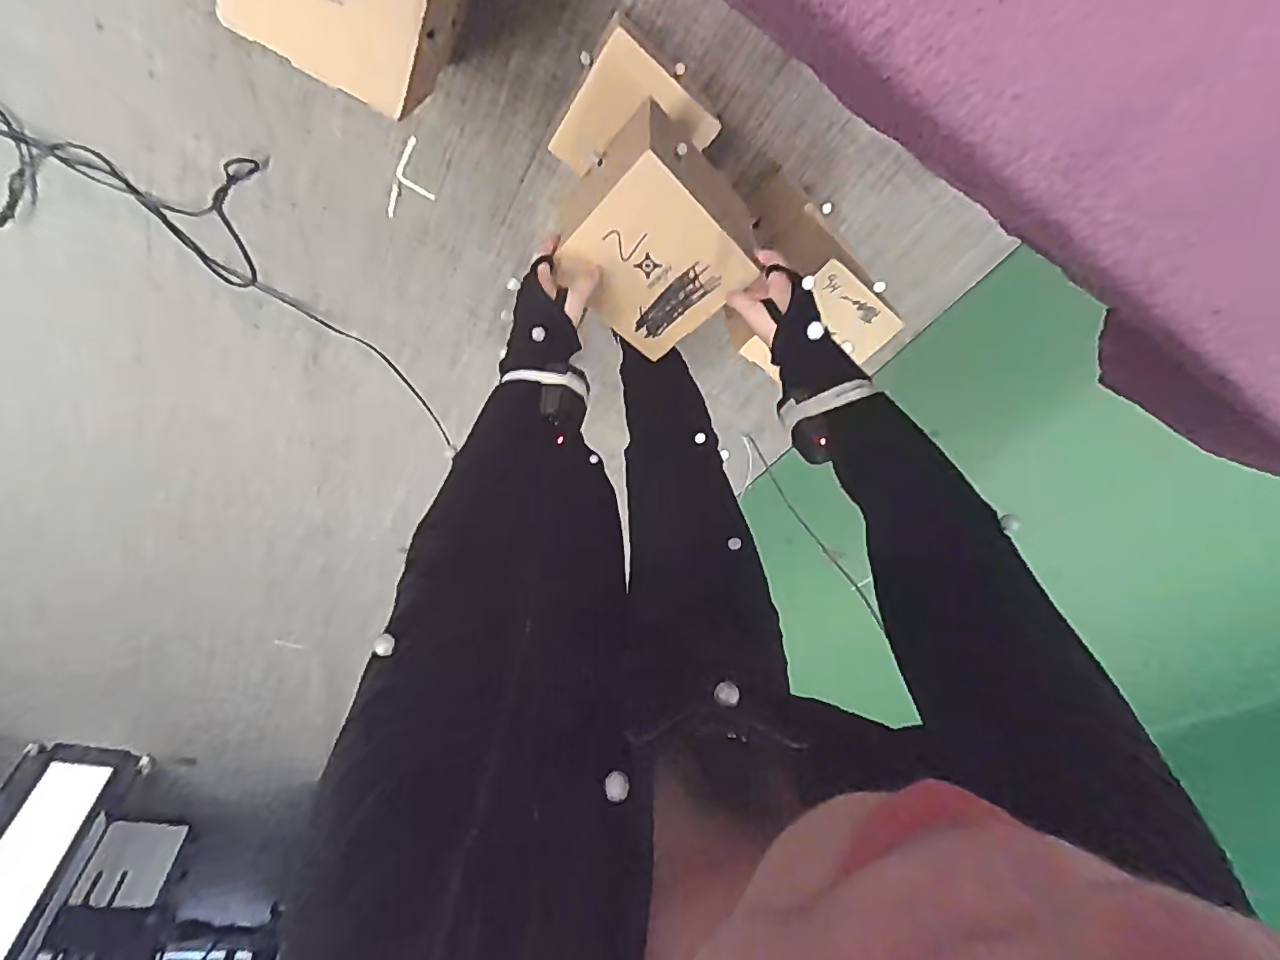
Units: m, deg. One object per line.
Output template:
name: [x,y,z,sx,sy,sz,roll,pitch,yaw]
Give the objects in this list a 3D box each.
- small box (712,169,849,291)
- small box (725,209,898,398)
small box: [0.240,-0.389,0.933,0.168,0.176,0.179,31,126,-30]
small box: [0.246,-0.266,0.822,0.168,0.176,0.179,27,130,-29]
